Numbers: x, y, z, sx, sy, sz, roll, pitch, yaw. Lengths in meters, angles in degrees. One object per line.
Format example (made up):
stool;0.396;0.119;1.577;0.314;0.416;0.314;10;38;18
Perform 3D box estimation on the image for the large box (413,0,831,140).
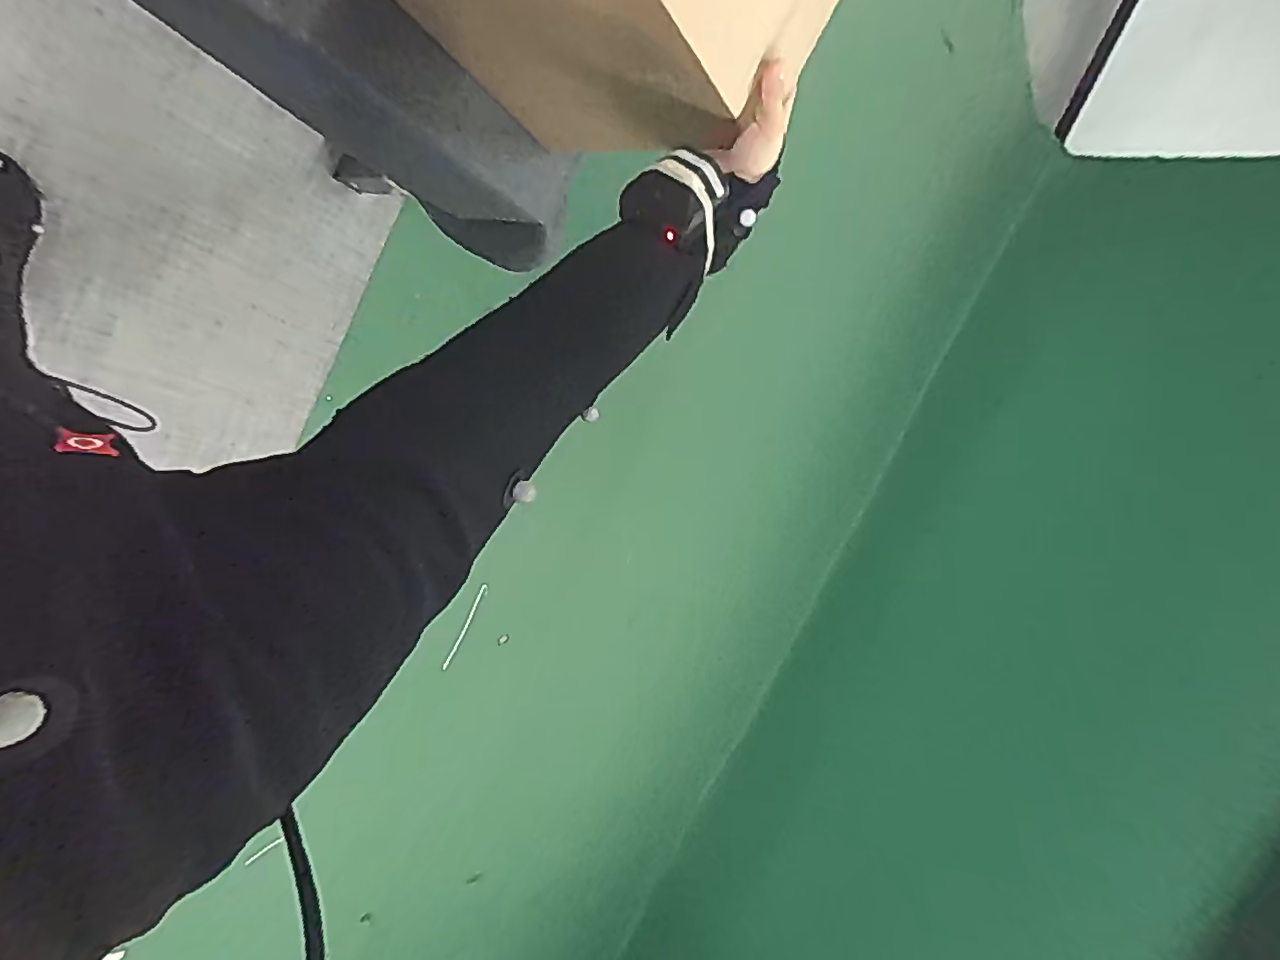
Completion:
large box;-0.054;-0.517;0.375;0.408;0.320;0.320;24;97;-49
